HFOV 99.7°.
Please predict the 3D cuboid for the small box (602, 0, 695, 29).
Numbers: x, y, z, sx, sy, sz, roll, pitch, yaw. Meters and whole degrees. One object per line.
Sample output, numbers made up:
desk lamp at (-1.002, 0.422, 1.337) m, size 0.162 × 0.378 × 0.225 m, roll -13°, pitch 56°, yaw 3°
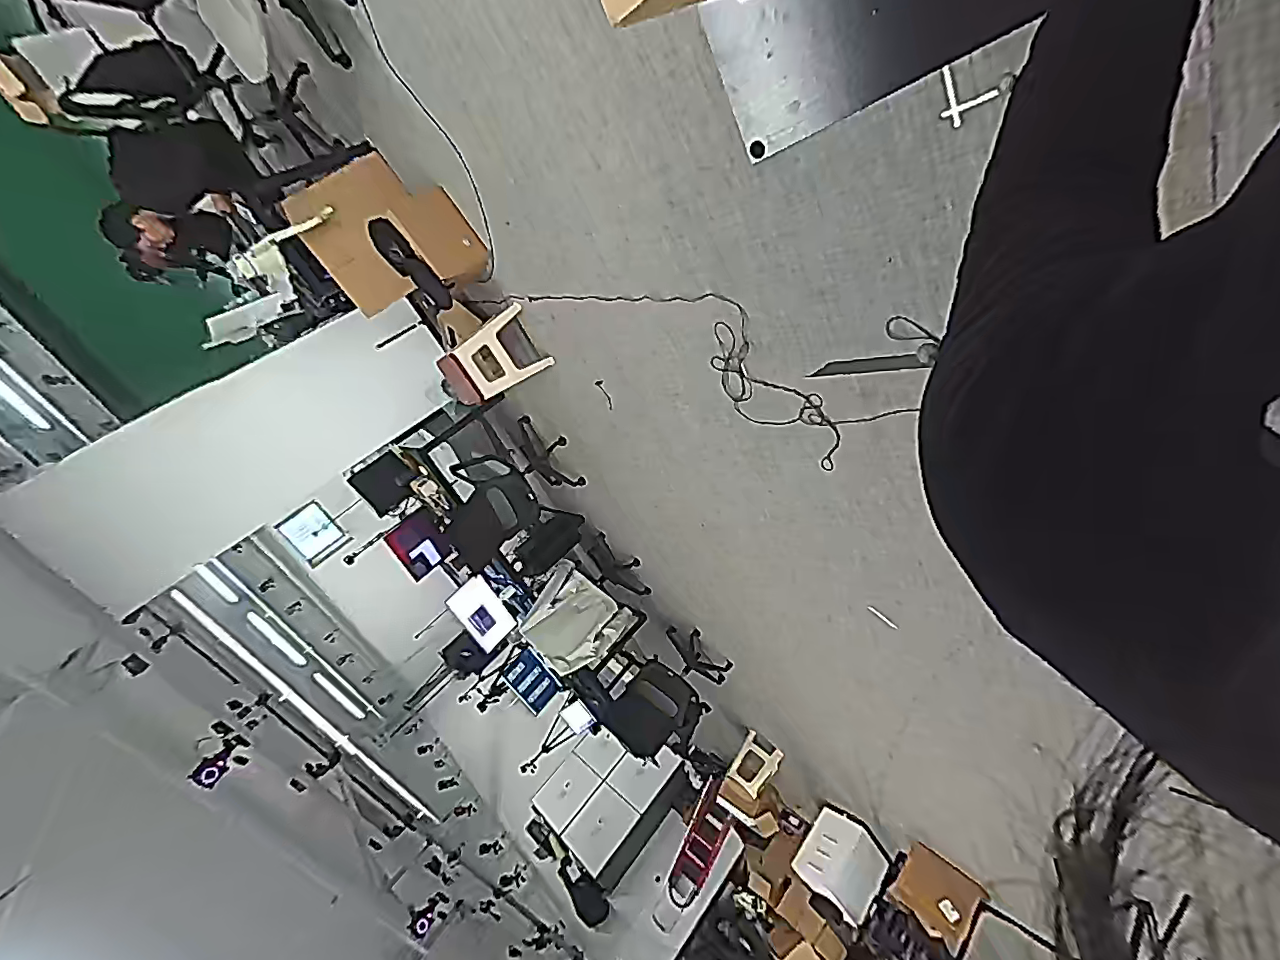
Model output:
small box at (0.051, -0.473, 0.379) m, size 0.179 × 0.176 × 0.168 m, roll 11°, pitch 136°, yaw 51°
